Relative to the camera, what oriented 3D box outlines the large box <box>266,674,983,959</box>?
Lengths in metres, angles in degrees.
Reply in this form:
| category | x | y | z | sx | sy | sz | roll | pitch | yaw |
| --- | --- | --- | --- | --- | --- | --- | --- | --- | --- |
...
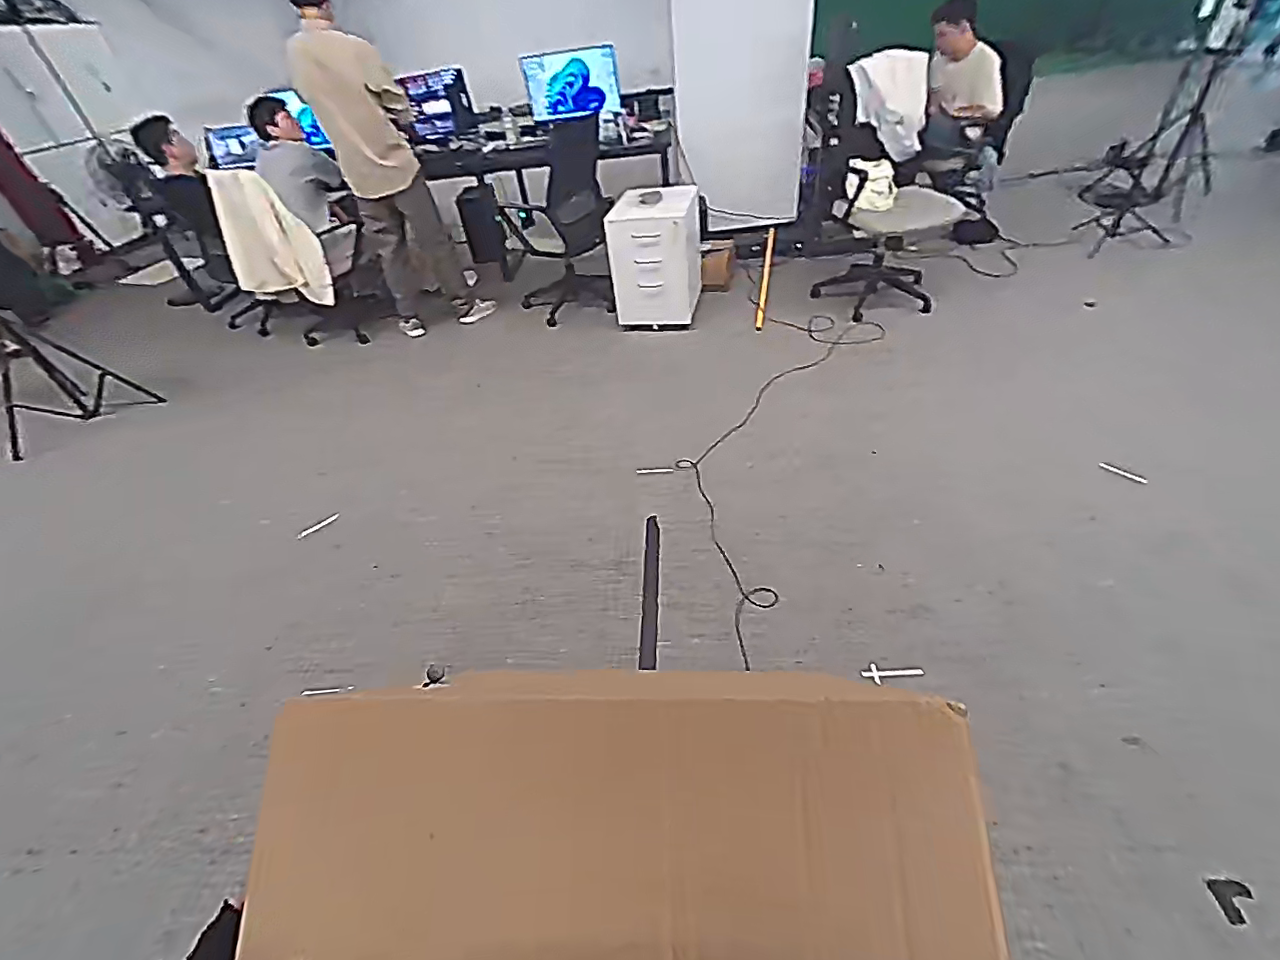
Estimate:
| category | x | y | z | sx | sy | sz | roll | pitch | yaw |
| --- | --- | --- | --- | --- | --- | --- | --- | --- | --- |
| large box | -0.007 | 0.324 | 0.431 | 0.408 | 0.320 | 0.320 | -2 | 74 | 5 |
